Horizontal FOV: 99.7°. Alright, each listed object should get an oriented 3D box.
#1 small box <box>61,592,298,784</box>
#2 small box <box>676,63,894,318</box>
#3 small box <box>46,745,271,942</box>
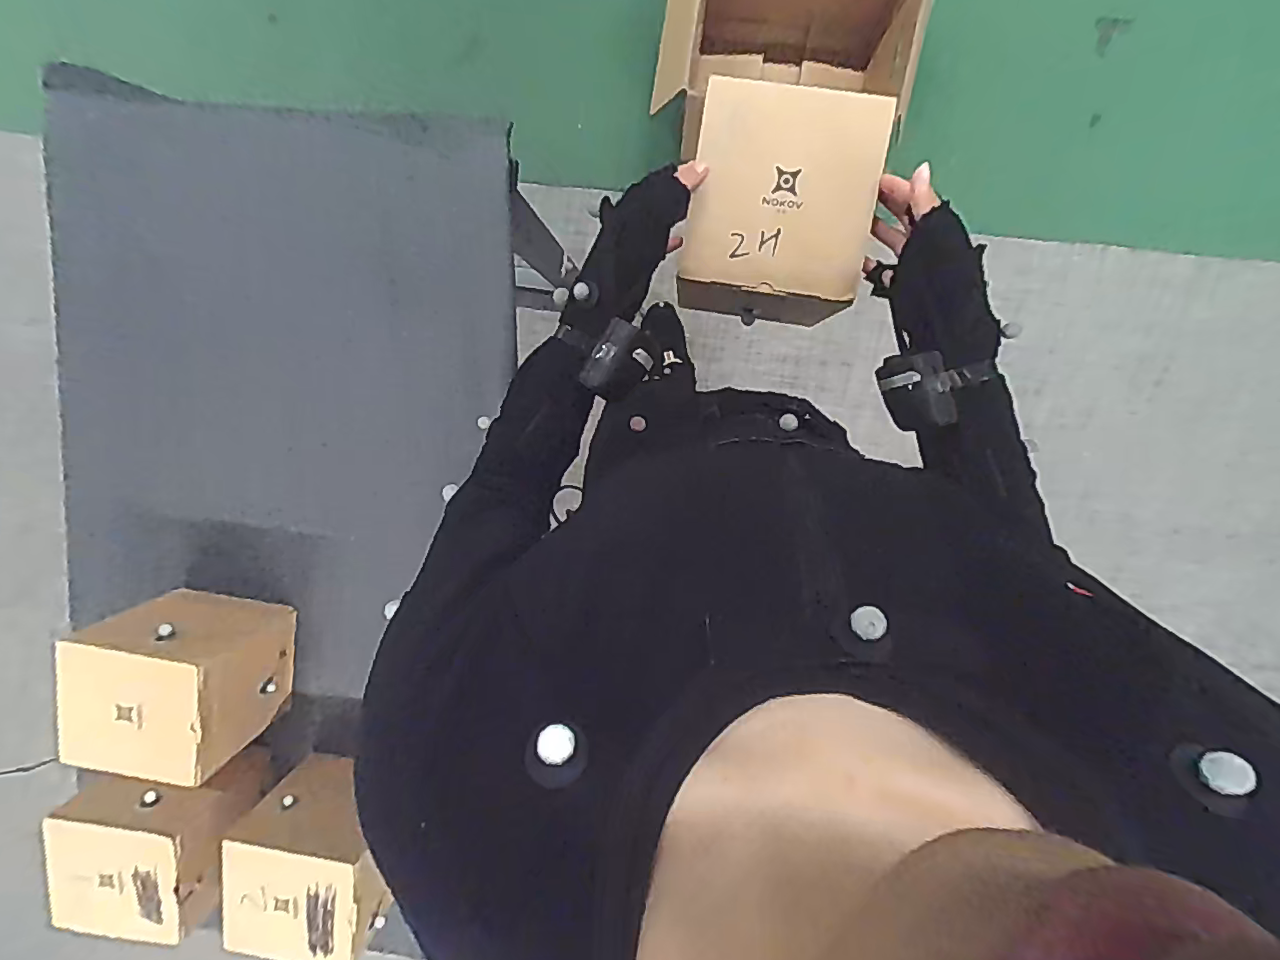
[{"bbox_3d":[-0.600,0.262,0.722,0.179,0.176,0.168,9,100,0],"label":"small box"},{"bbox_3d":[0.132,-0.278,0.559,0.168,0.176,0.179,10,100,4],"label":"small box"},{"bbox_3d":[-0.658,0.492,0.762,0.179,0.176,0.168,7,100,2],"label":"small box"}]
